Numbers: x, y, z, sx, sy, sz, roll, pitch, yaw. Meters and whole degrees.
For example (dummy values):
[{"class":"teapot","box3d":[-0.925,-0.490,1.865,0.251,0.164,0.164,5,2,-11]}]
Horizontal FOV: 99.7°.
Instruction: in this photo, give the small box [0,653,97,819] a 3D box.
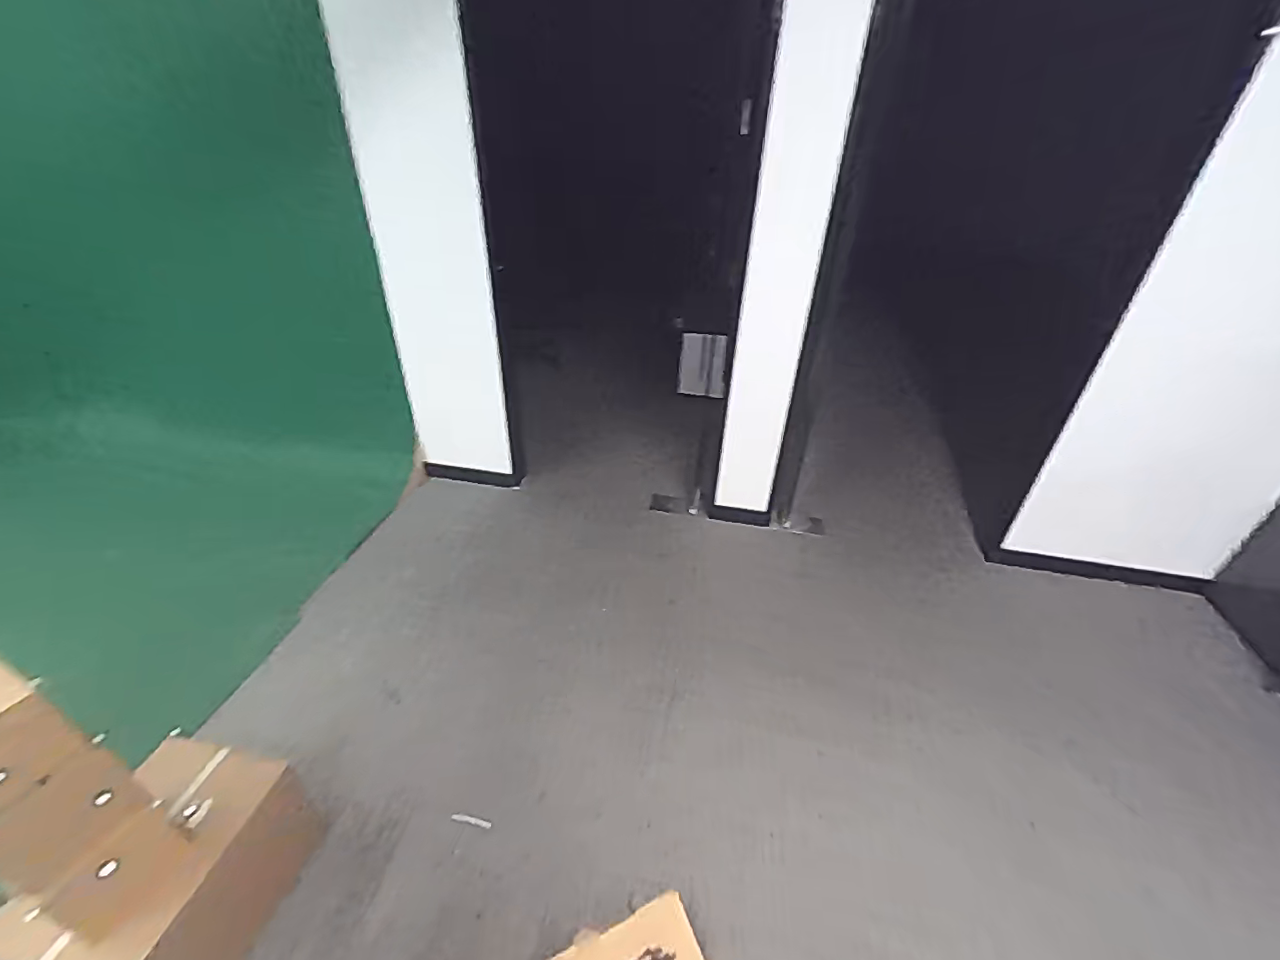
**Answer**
[{"class":"small box","box3d":[-0.977,0.387,0.799,0.179,0.176,0.168,16,36,21]}]

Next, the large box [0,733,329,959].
[{"class":"large box","box3d":[-0.966,0.836,1.153,0.320,0.320,0.408,8,34,8]}]

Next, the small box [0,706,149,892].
[{"class":"small box","box3d":[-0.972,0.522,0.893,0.168,0.176,0.179,15,37,20]}]

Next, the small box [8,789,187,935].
[{"class":"small box","box3d":[-0.974,0.662,0.977,0.168,0.176,0.179,14,36,17]}]
